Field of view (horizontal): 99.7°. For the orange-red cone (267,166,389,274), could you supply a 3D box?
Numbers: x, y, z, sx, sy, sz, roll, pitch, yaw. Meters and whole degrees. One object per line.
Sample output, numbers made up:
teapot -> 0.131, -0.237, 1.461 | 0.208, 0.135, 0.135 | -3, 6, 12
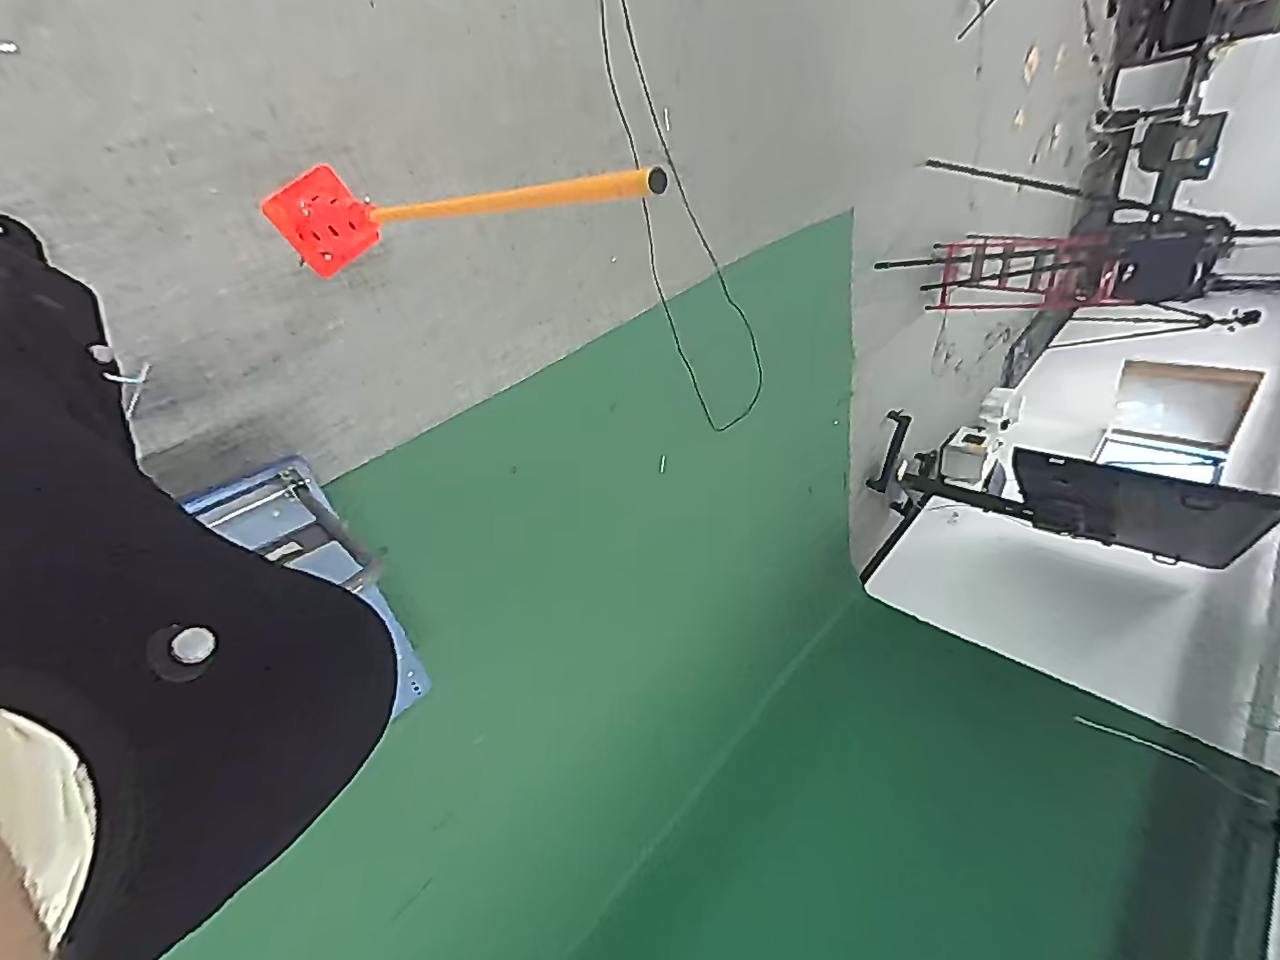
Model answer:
orange-red cone -> -0.658, -0.595, 1.228 | 0.199, 0.360, 0.198 | -50, 136, -21
